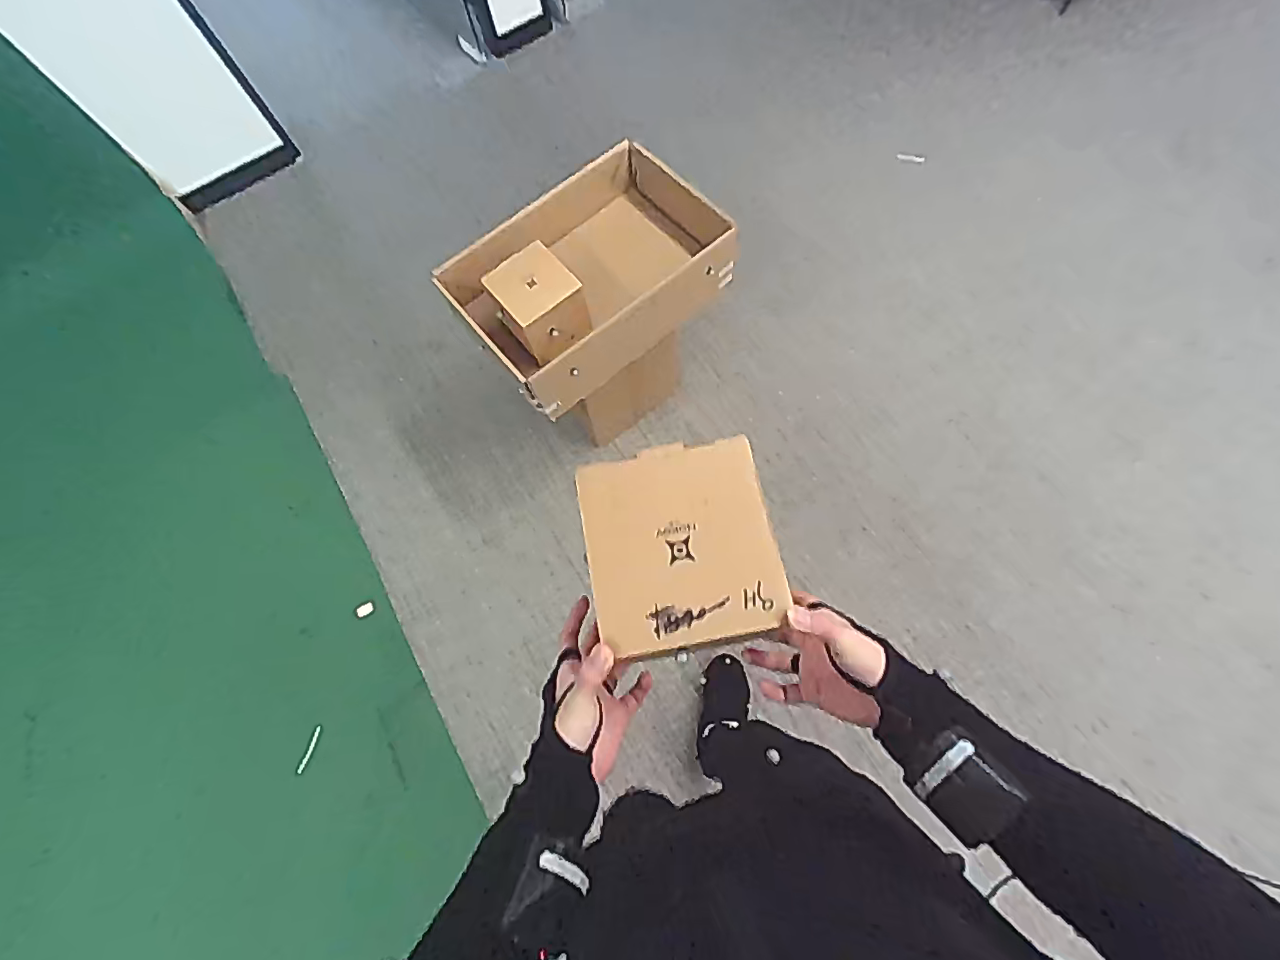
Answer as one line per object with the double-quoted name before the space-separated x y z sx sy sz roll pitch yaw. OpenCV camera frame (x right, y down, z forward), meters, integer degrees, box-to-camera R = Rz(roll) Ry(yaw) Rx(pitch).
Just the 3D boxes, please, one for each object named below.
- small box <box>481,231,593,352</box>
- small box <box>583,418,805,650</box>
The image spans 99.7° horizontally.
"small box" -0.228 -0.422 1.249 0.168 0.176 0.179 -39 72 -8
"small box" 0.045 0.063 0.538 0.168 0.176 0.179 -11 70 1
